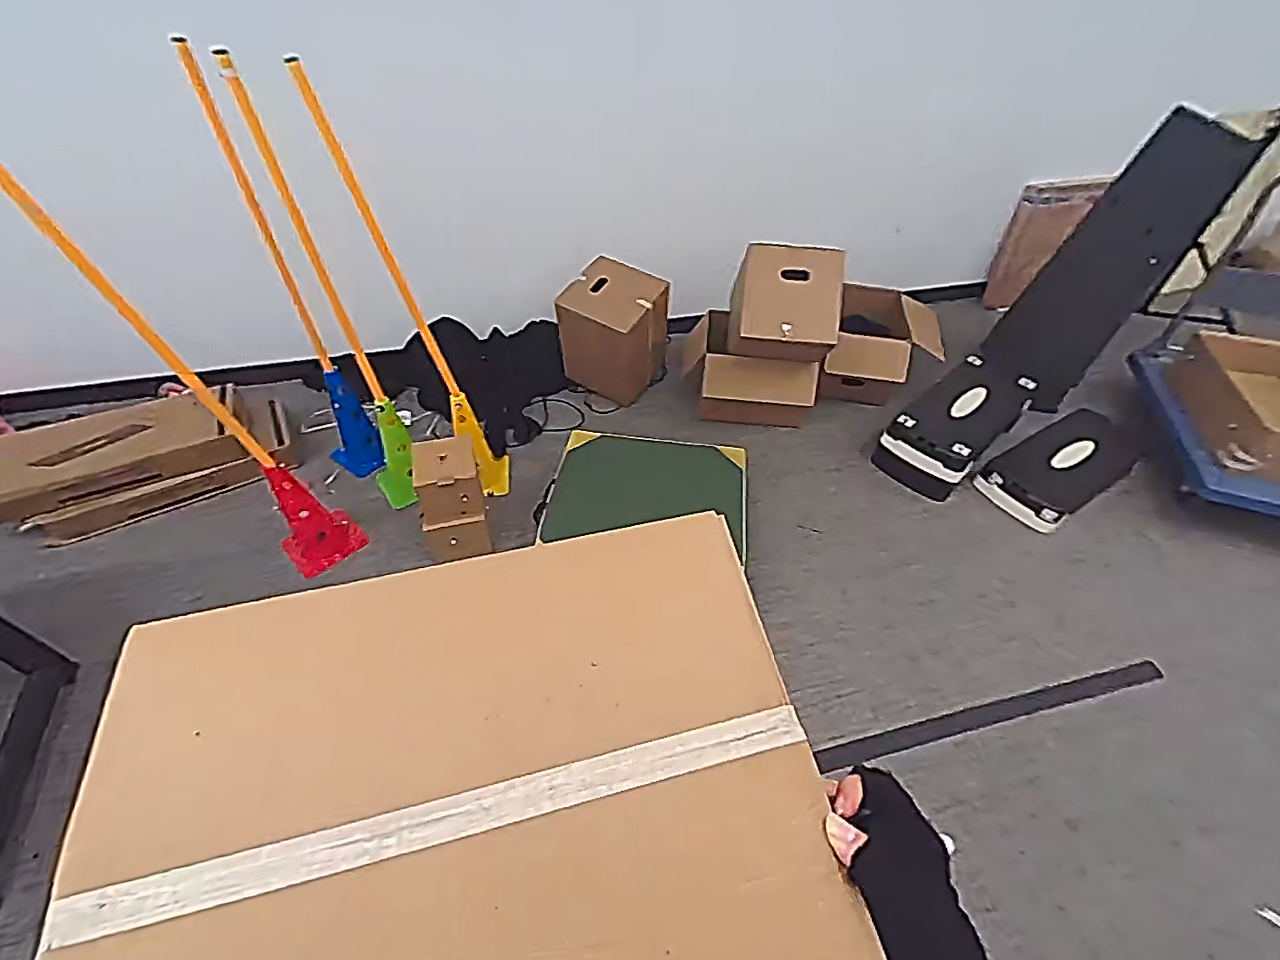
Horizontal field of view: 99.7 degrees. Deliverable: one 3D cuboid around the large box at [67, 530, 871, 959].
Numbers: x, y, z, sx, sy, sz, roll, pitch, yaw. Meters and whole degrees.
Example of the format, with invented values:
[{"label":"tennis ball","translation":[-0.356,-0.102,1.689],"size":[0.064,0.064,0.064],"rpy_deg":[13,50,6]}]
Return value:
[{"label":"large box","translation":[-0.100,0.280,0.432],"size":[0.408,0.320,0.320],"rpy_deg":[-11,57,-8]}]
